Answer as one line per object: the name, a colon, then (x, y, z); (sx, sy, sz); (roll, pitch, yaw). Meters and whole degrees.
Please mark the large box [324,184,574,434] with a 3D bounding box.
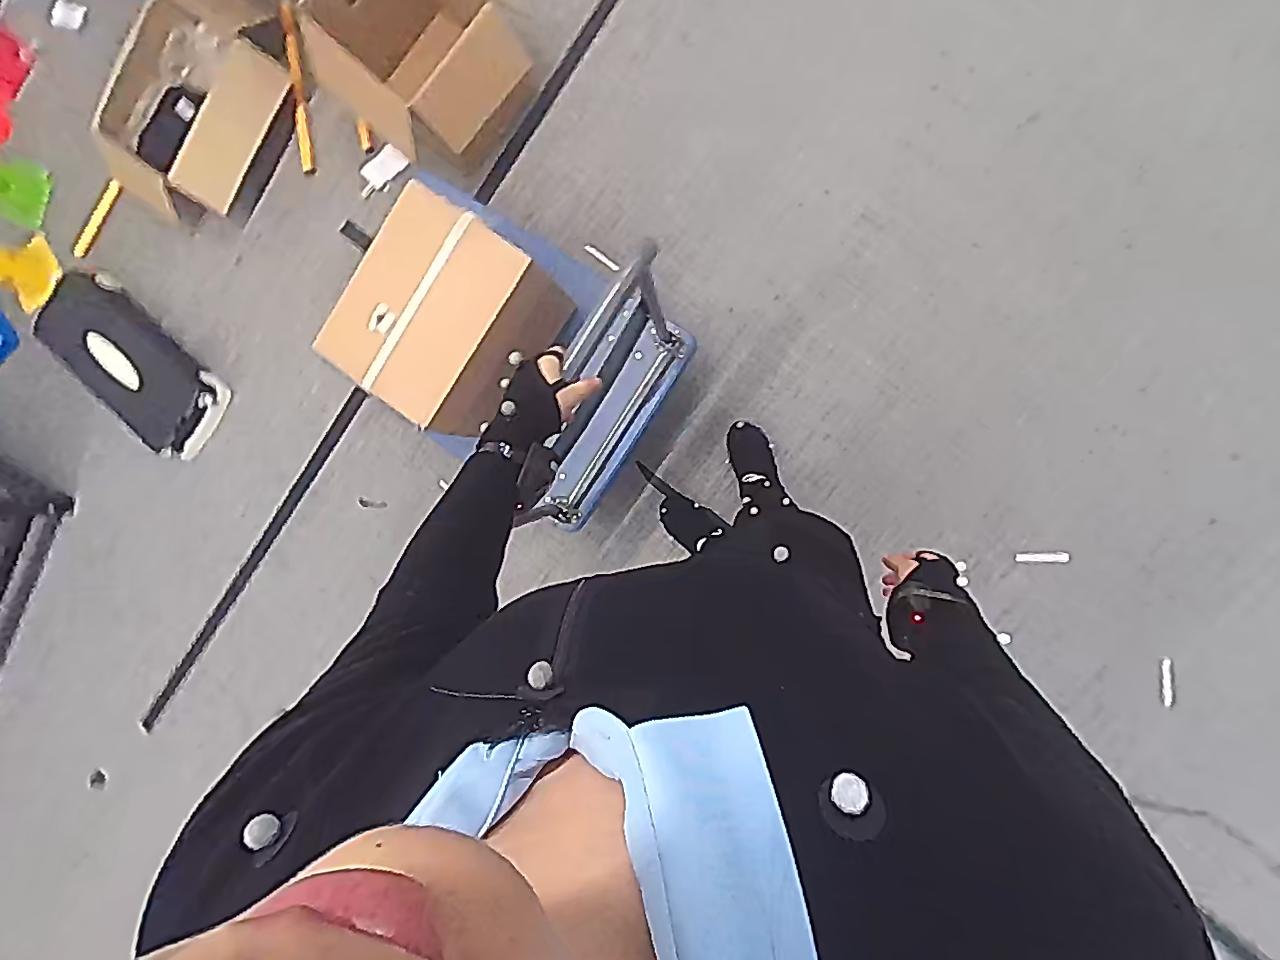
large box: (-0.414, -0.359, 1.243); (0.320, 0.320, 0.408); (35, 98, 8)
